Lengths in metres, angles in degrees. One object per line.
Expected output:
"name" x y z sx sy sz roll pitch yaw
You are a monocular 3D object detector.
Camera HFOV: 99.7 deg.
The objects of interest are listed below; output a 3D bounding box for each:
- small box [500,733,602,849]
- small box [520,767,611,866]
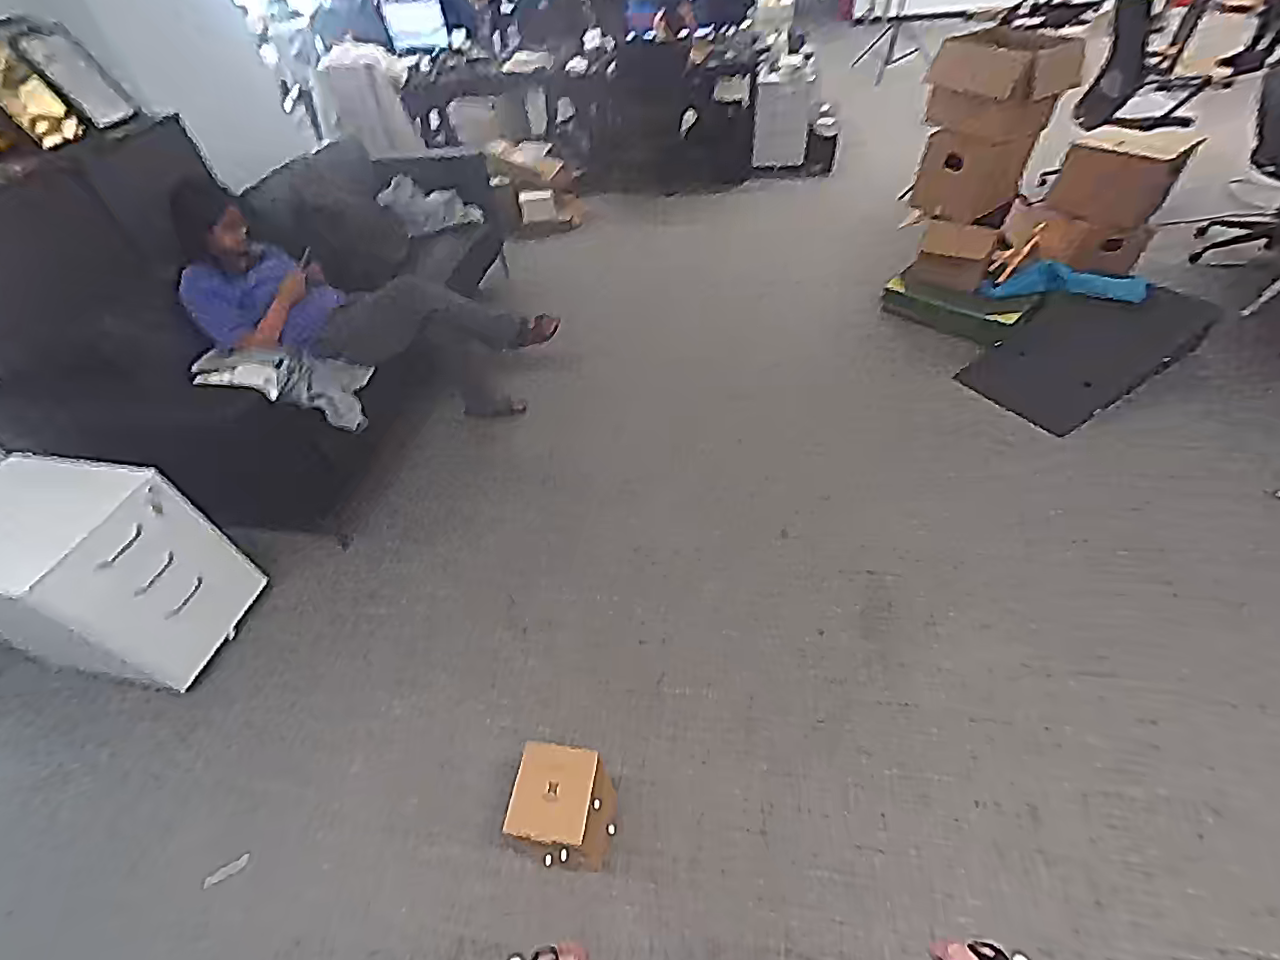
"small box" -0.183 0.683 1.183 0.168 0.176 0.179 4 46 8
"small box" -0.170 0.795 1.300 0.168 0.176 0.179 5 47 11
